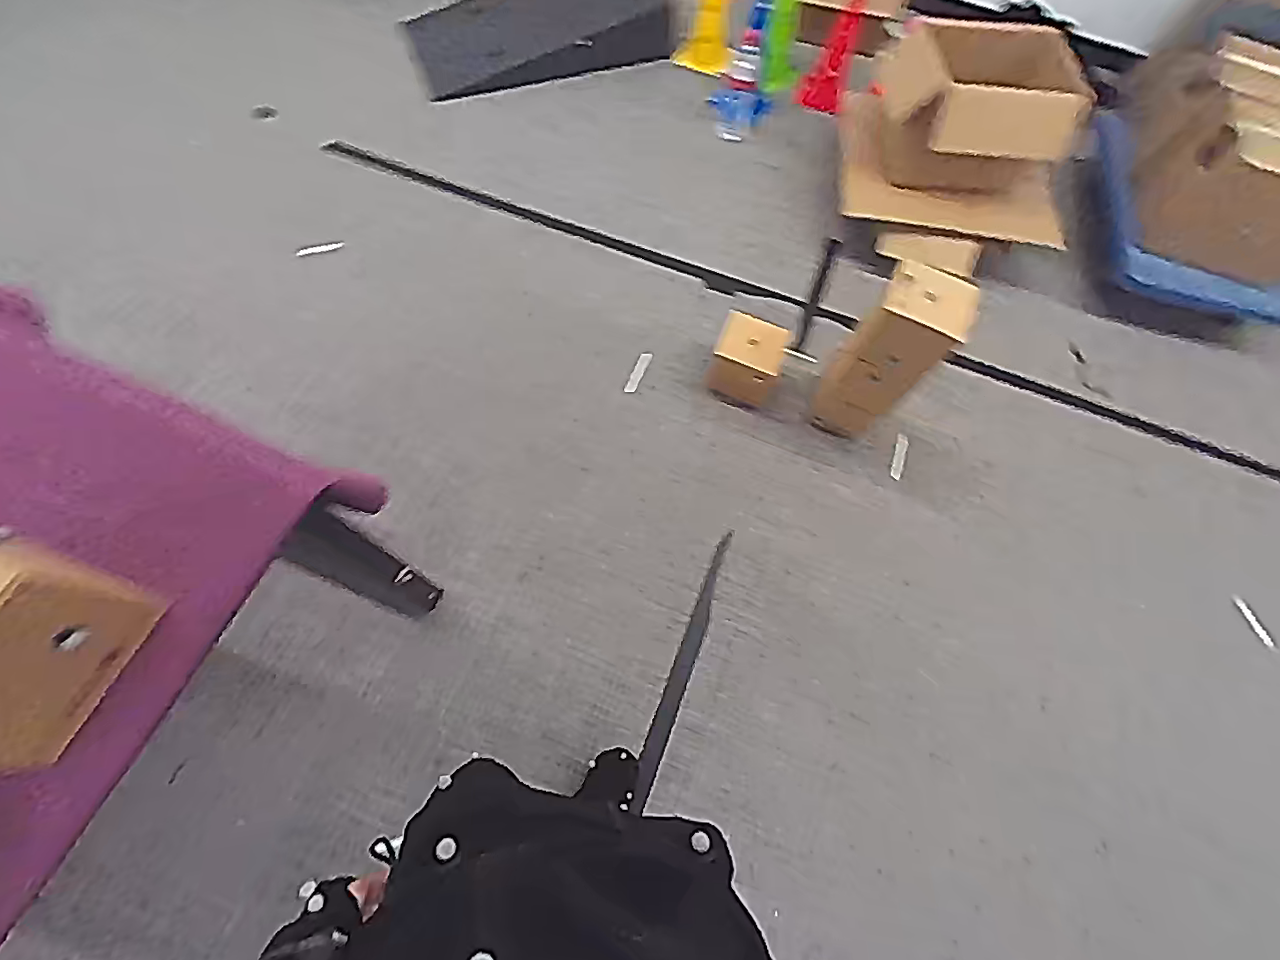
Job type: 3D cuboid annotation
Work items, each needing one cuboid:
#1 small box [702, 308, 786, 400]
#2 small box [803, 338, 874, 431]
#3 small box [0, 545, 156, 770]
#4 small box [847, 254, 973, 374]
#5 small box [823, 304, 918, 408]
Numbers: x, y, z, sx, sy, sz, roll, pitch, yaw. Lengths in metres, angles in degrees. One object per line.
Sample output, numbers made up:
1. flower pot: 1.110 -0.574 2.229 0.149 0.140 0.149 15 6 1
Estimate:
1. small box: 0.293 -0.355 1.555 0.179 0.176 0.168 22 67 4
2. small box: 0.583 -0.265 1.543 0.168 0.176 0.179 21 67 3
3. small box: -0.606 0.148 0.479 0.179 0.176 0.168 20 67 4
4. small box: 0.608 -0.368 1.231 0.179 0.176 0.168 26 68 4
5. small box: 0.595 -0.310 1.384 0.179 0.176 0.168 23 68 4
